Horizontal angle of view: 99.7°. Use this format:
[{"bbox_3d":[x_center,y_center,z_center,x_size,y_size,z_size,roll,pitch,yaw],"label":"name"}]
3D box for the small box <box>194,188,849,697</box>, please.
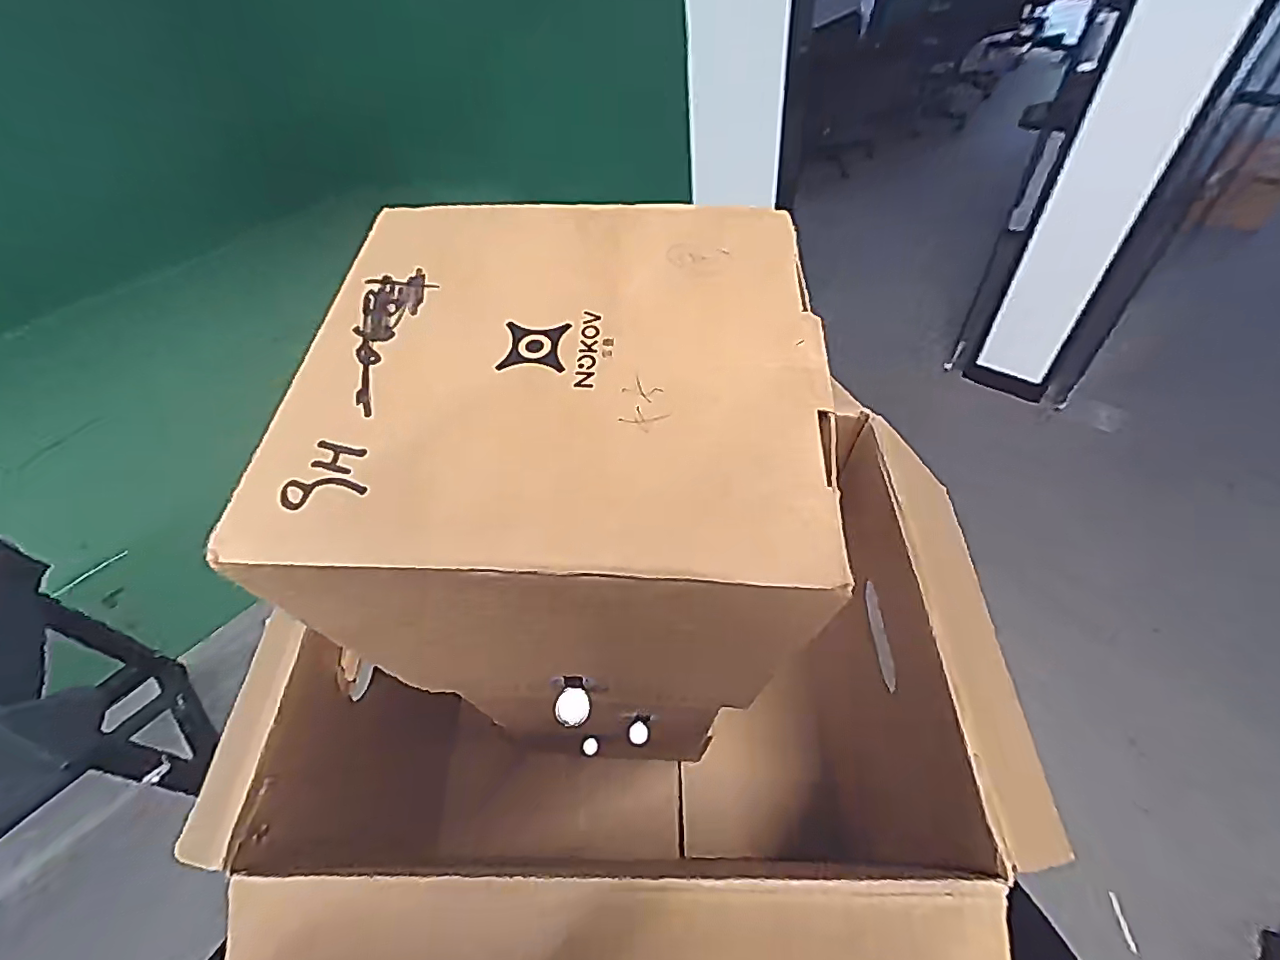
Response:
[{"bbox_3d":[-0.028,-0.004,0.250,0.179,0.176,0.168,2,57,1],"label":"small box"}]
